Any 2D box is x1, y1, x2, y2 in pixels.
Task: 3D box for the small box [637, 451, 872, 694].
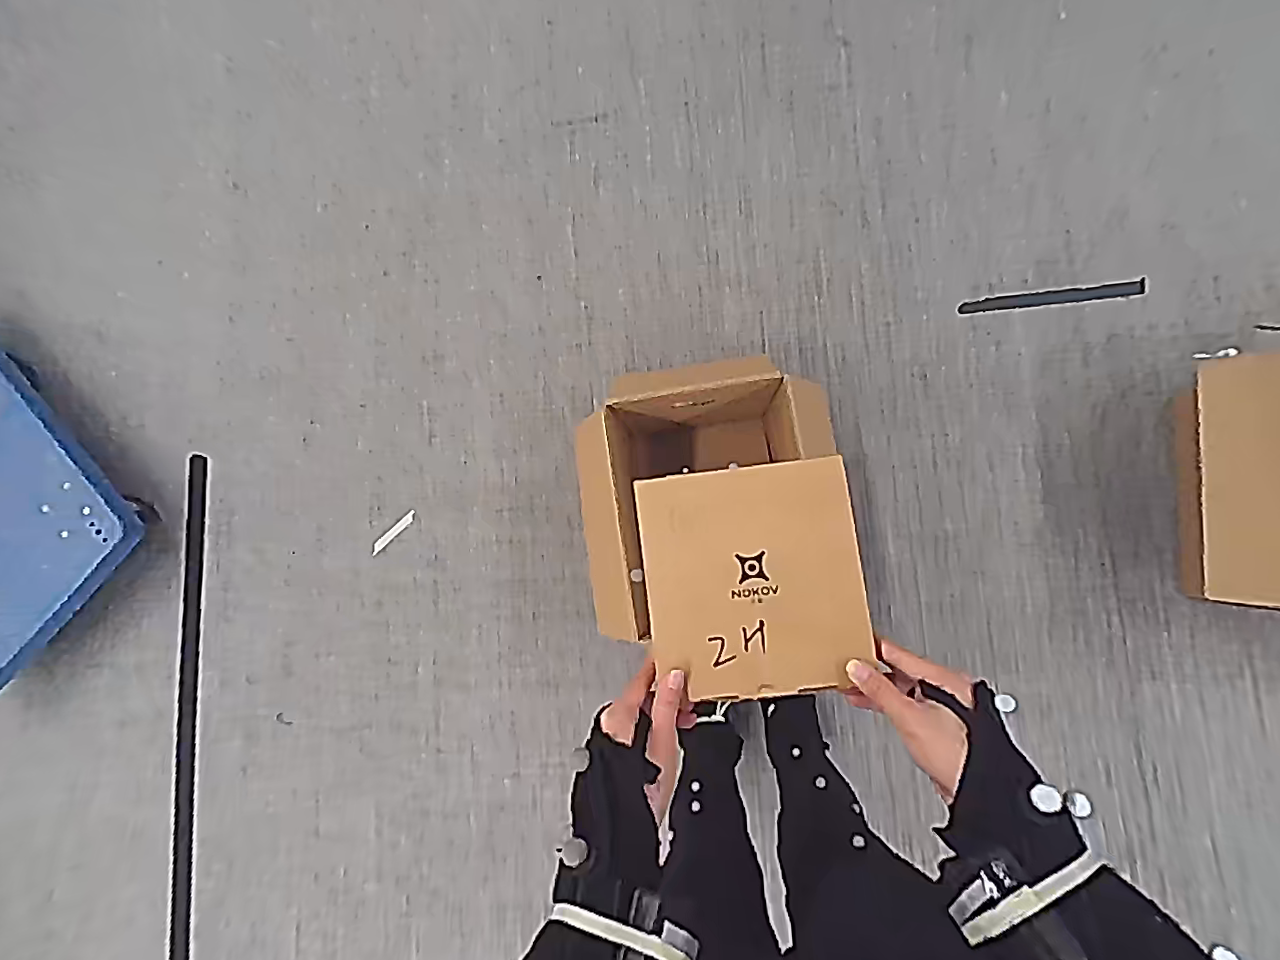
[{"bbox_3d":[0.092,0.081,0.499,0.168,0.176,0.179,-7,83,5],"label":"small box"}]
